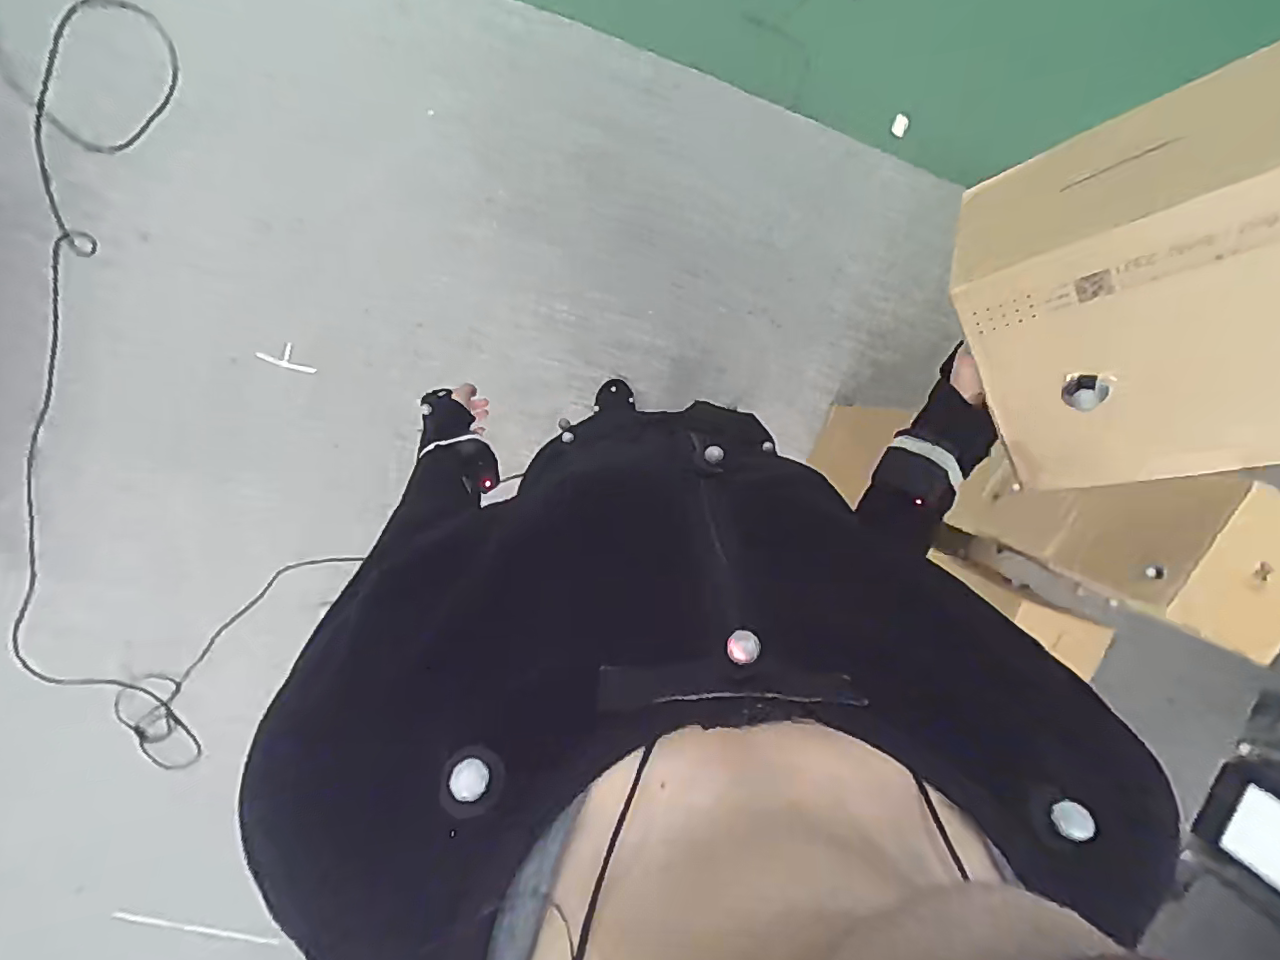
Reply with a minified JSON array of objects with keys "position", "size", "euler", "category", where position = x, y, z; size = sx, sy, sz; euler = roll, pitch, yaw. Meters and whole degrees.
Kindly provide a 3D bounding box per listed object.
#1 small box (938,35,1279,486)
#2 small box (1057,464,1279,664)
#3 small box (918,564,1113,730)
[{"position":[0.303,-0.127,0.339],"size":[0.168,0.179,0.176],"euler":[-15,123,42],"category":"small box"},{"position":[0.694,0.091,0.689],"size":[0.168,0.176,0.179],"euler":[25,99,-8],"category":"small box"},{"position":[0.589,0.262,0.879],"size":[0.168,0.176,0.179],"euler":[19,97,-7],"category":"small box"}]
